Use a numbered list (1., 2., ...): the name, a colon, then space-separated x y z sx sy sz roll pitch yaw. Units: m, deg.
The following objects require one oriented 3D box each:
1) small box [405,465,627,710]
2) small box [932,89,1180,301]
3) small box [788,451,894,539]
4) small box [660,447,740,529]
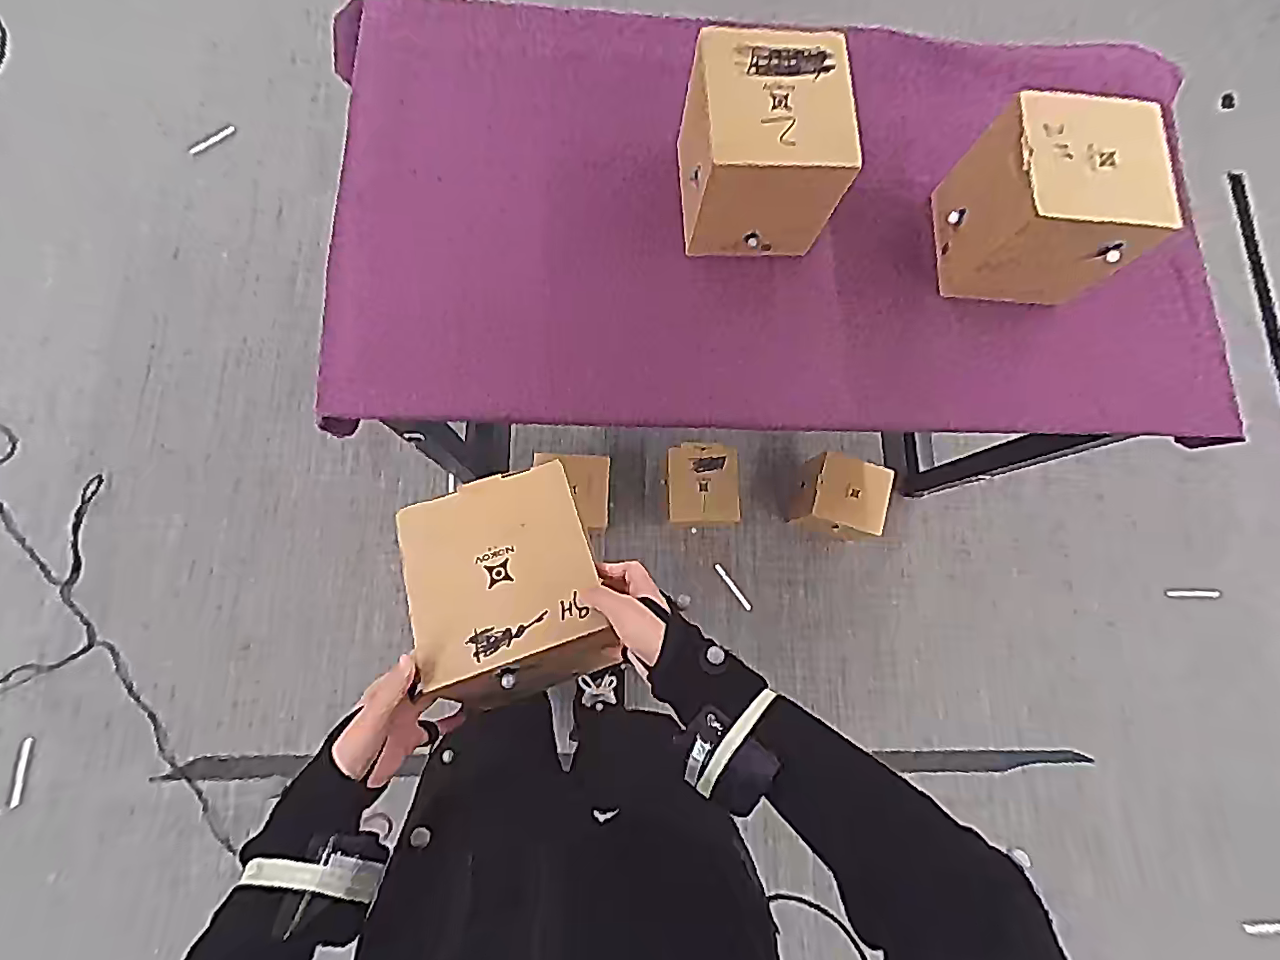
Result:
1. small box: -0.118 0.117 0.556 0.168 0.176 0.179 -19 63 -7
2. small box: 0.505 -0.344 0.682 0.179 0.176 0.168 2 78 -4
3. small box: 0.496 0.045 1.351 0.179 0.176 0.168 17 78 0
4. small box: 0.141 0.025 1.325 0.168 0.176 0.179 0 80 -4
